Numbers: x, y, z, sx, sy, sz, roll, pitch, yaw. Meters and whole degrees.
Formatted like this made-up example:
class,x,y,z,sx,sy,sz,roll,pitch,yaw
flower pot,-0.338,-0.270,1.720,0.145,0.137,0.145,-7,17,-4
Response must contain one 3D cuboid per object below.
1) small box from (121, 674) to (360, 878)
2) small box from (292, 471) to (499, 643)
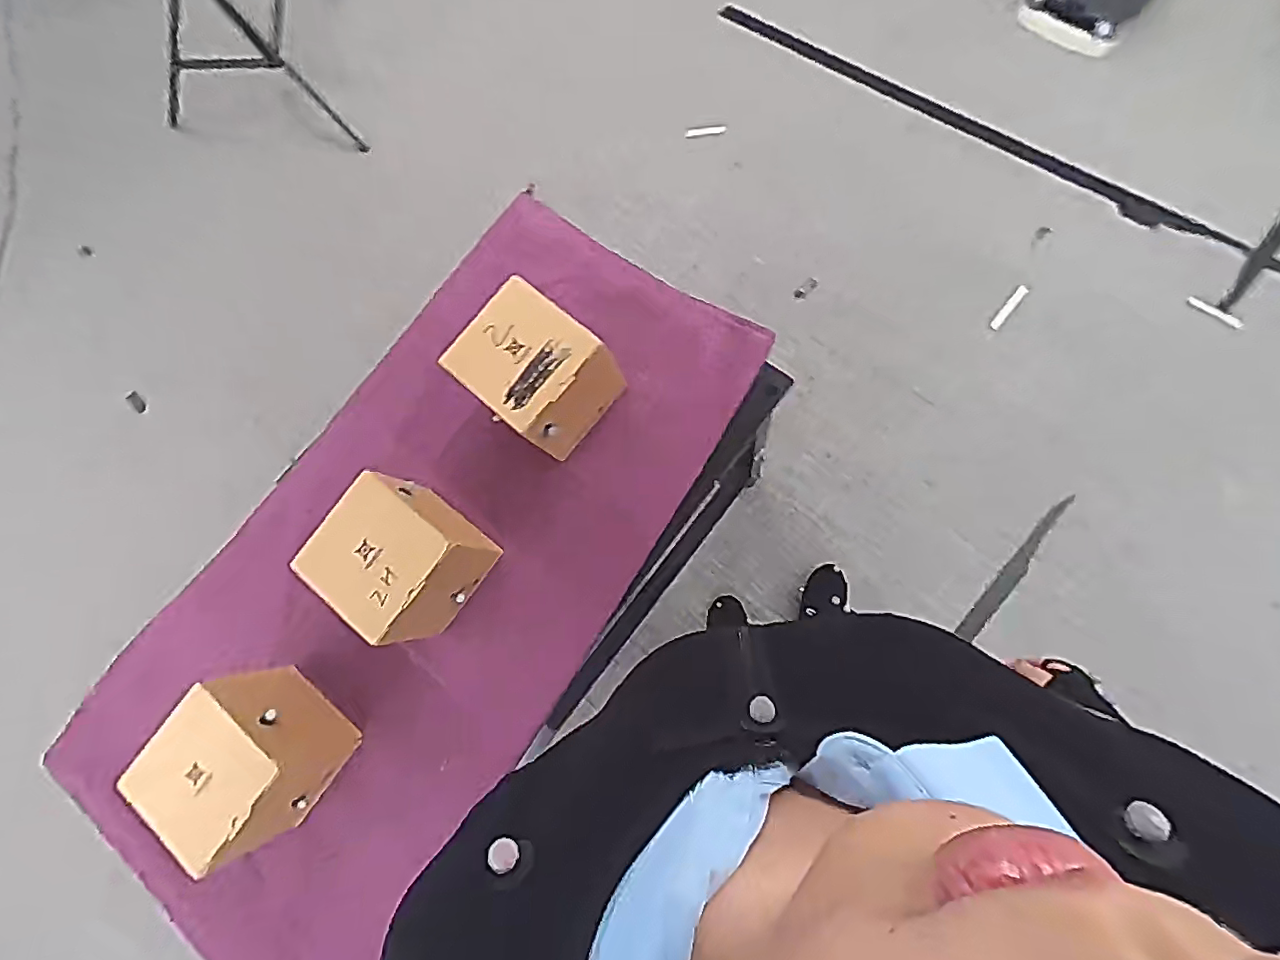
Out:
class,x,y,z,sx,sy,sz,roll,pitch,yaw
small box,-0.554,0.399,0.772,0.179,0.176,0.168,35,86,13
small box,-0.345,0.114,0.792,0.179,0.176,0.168,36,87,13
